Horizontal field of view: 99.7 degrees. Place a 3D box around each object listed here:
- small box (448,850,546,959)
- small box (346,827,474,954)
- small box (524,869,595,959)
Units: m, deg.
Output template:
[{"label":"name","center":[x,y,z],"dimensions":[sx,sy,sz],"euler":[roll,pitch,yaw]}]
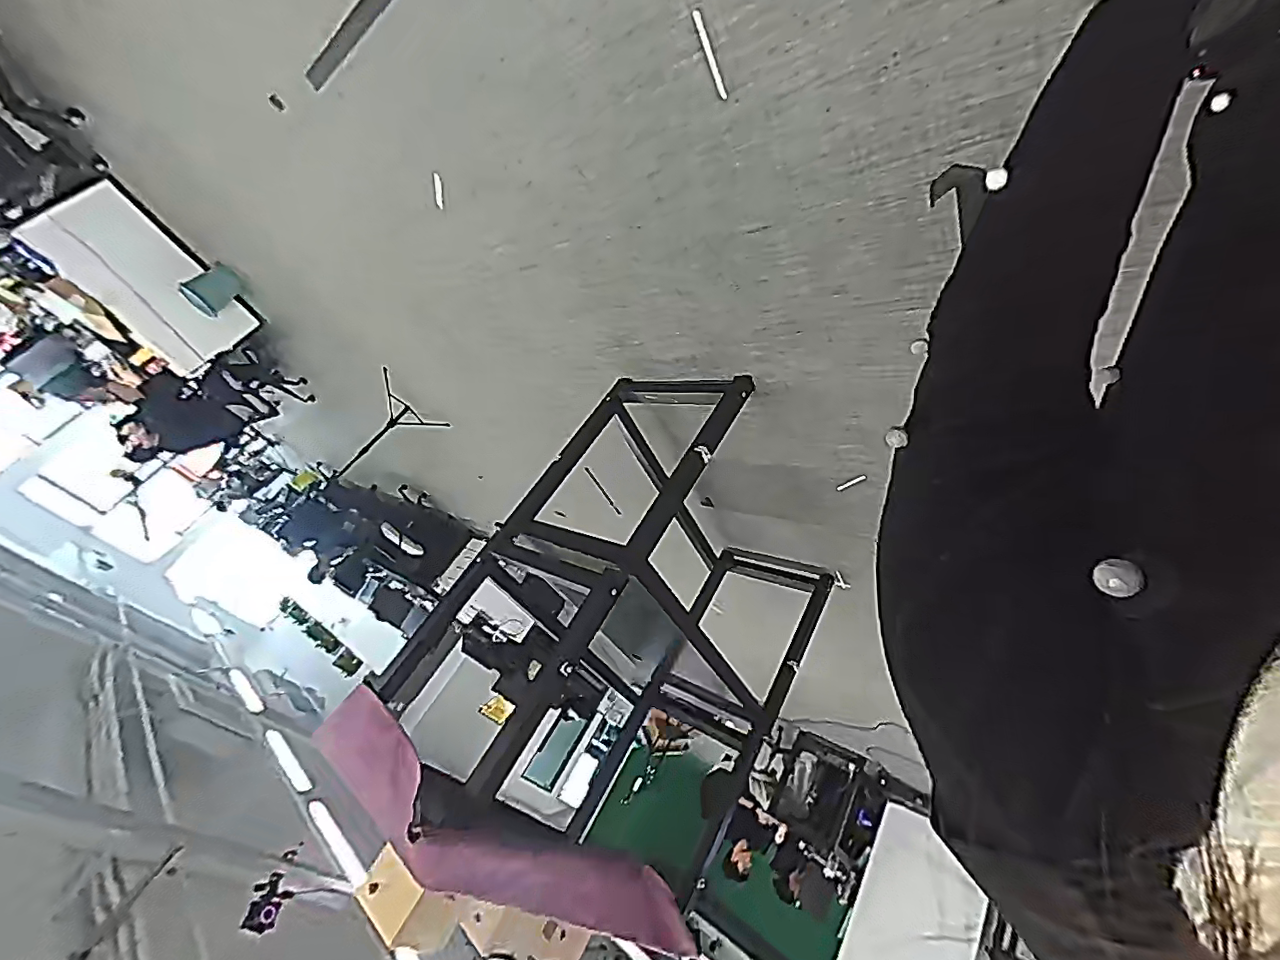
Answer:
[{"label":"small box","center":[-0.379,1.138,1.446],"dimensions":[0.179,0.176,0.168],"euler":[6,142,47]},{"label":"small box","center":[-0.516,0.923,1.233],"dimensions":[0.179,0.176,0.168],"euler":[12,147,39]},{"label":"small box","center":[-0.271,1.314,1.624],"dimensions":[0.168,0.176,0.179],"euler":[7,143,45]}]
